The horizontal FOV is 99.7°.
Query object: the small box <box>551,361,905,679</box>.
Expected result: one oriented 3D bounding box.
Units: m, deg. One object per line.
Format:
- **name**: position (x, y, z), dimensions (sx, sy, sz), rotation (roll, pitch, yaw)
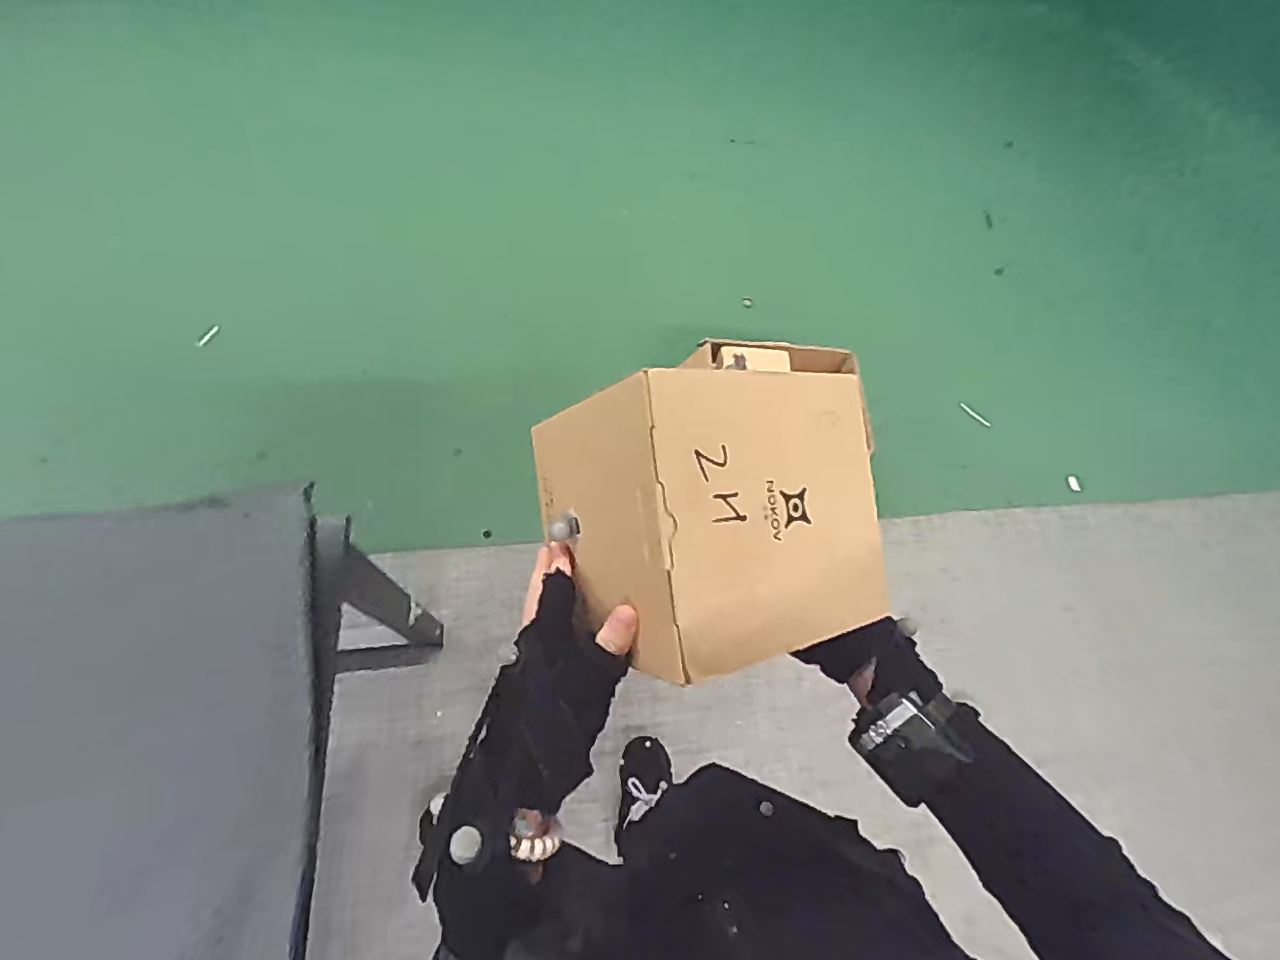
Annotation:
- **small box**: position (0.054, 0.022, 0.386), dimensions (0.179, 0.176, 0.168), rotation (-5, 87, -31)
